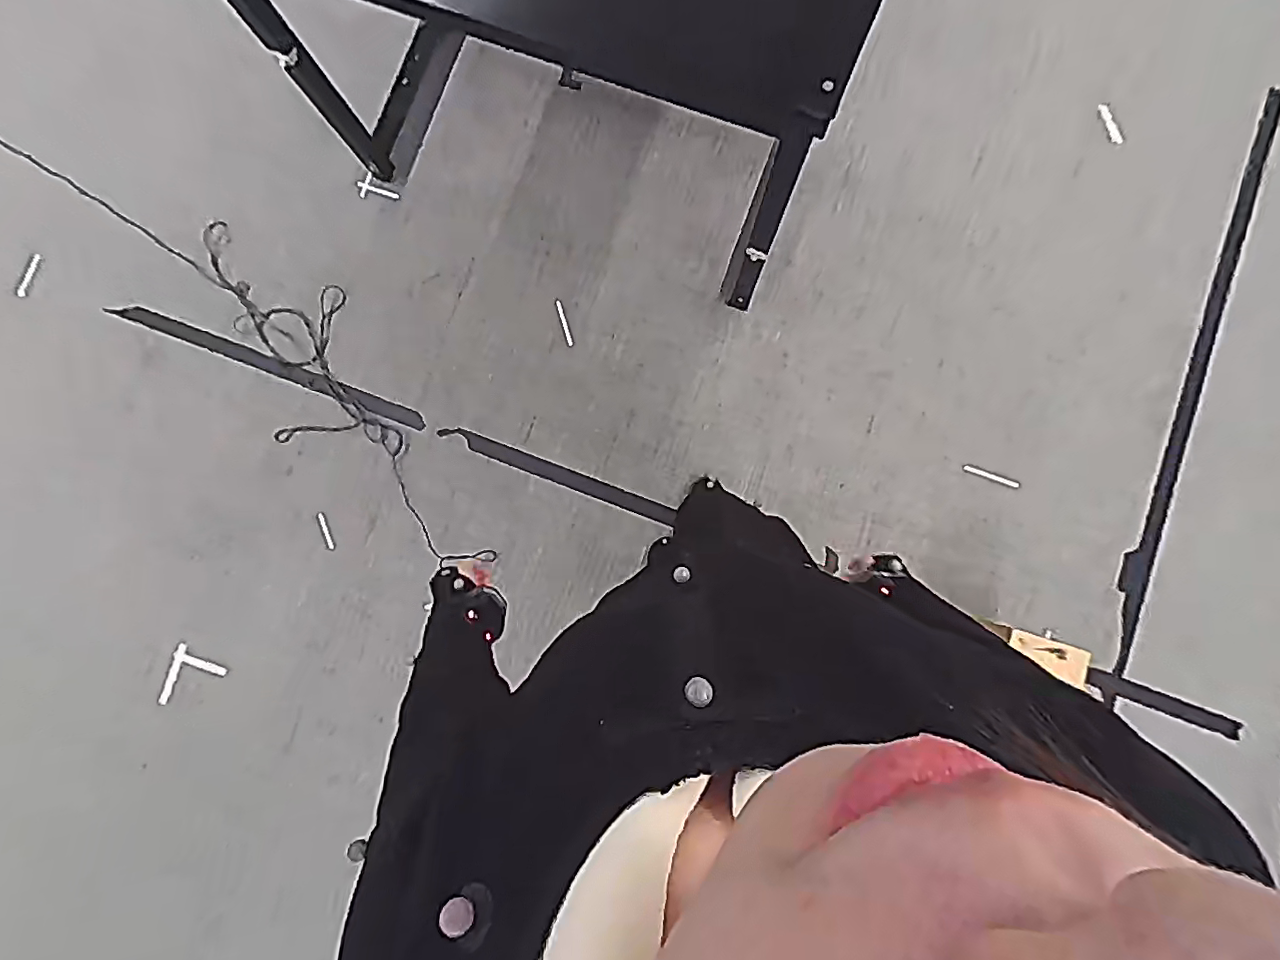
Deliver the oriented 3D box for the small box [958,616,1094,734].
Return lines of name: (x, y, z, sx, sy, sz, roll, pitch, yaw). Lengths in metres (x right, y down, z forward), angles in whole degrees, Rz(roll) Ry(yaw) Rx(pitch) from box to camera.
small box: (0.844, 0.423, 1.203, 0.168, 0.176, 0.179, 17, 87, 3)

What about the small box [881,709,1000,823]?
small box: (0.739, 0.701, 1.352, 0.179, 0.176, 0.168, 25, 88, 3)

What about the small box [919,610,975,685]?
small box: (0.846, 0.440, 1.366, 0.179, 0.176, 0.168, 22, 87, 3)
